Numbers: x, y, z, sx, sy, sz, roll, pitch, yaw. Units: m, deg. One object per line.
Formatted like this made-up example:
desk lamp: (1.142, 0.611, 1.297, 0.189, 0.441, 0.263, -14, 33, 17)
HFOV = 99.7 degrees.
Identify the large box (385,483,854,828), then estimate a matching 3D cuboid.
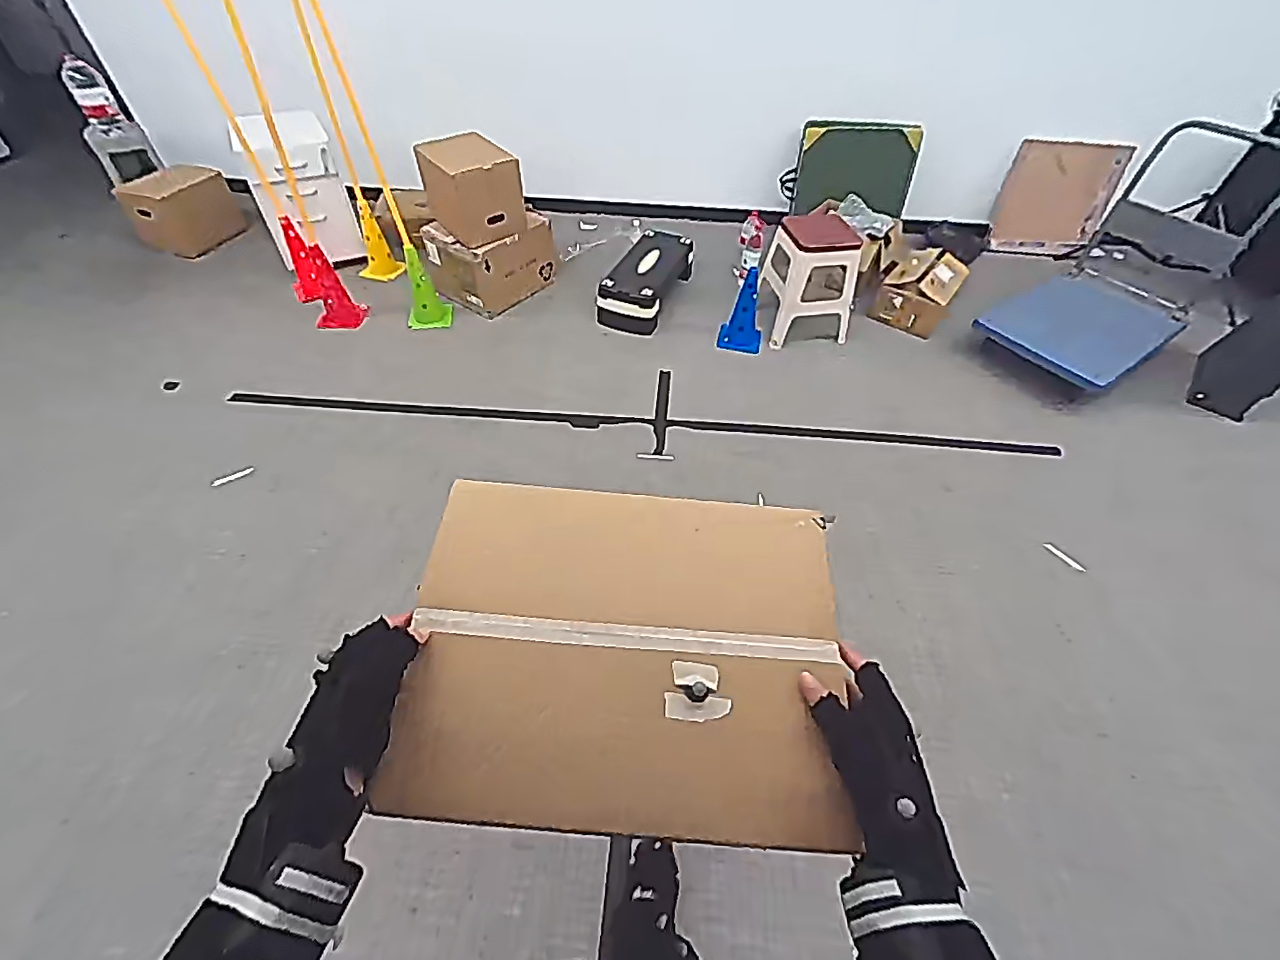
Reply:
large box: (-0.018, 0.225, 0.653, 0.408, 0.320, 0.320, 5, 59, -1)
